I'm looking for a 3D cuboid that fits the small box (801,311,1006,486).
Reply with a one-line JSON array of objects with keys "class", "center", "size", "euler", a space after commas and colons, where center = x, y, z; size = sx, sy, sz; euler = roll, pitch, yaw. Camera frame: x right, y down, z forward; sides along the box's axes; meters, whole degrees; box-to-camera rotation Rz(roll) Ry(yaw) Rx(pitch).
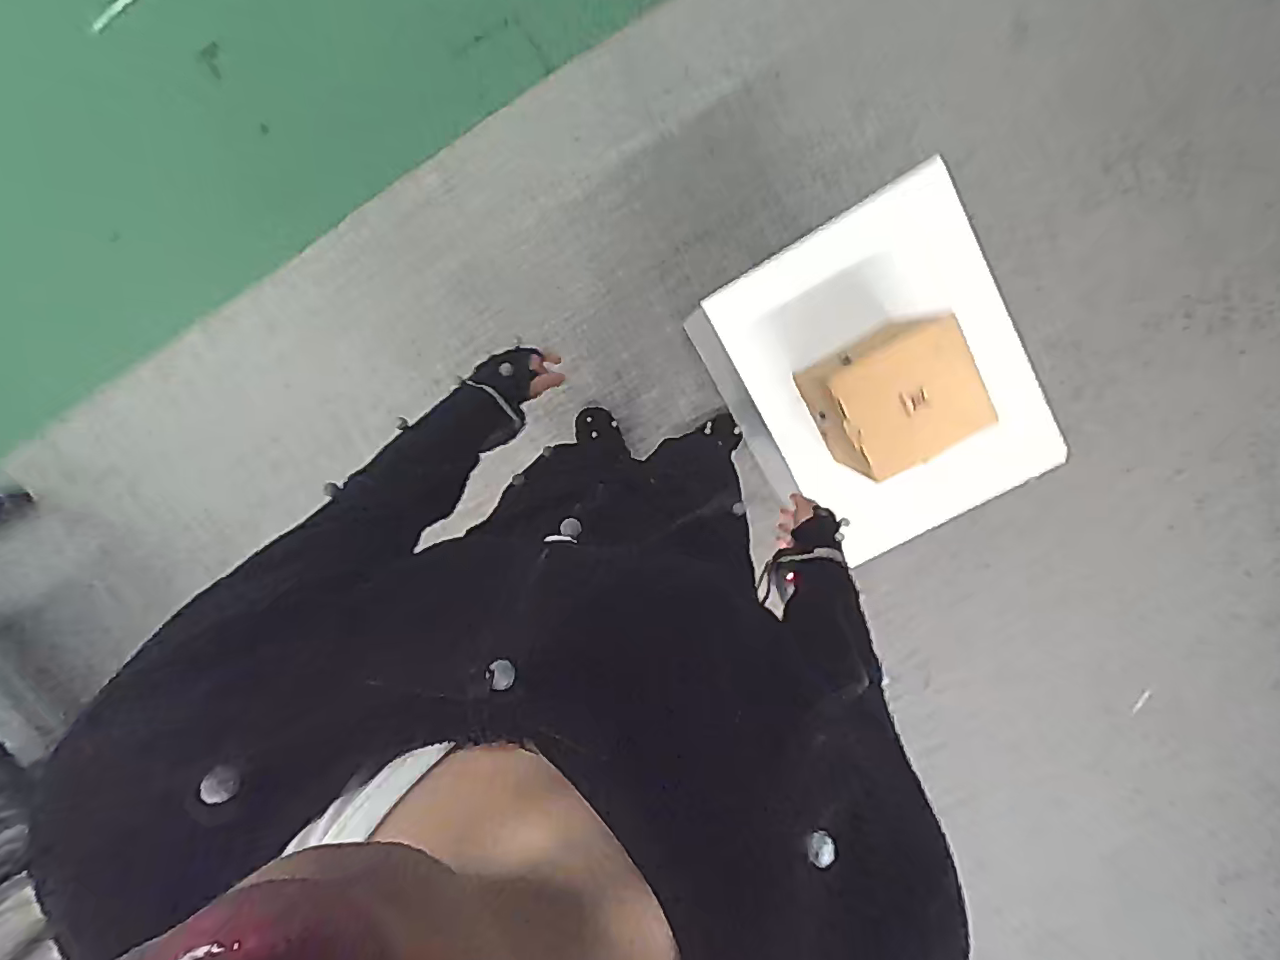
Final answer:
[{"class": "small box", "center": [0.355, -0.117, 0.761], "size": [0.179, 0.176, 0.168], "euler": [-28, 100, 7]}]
